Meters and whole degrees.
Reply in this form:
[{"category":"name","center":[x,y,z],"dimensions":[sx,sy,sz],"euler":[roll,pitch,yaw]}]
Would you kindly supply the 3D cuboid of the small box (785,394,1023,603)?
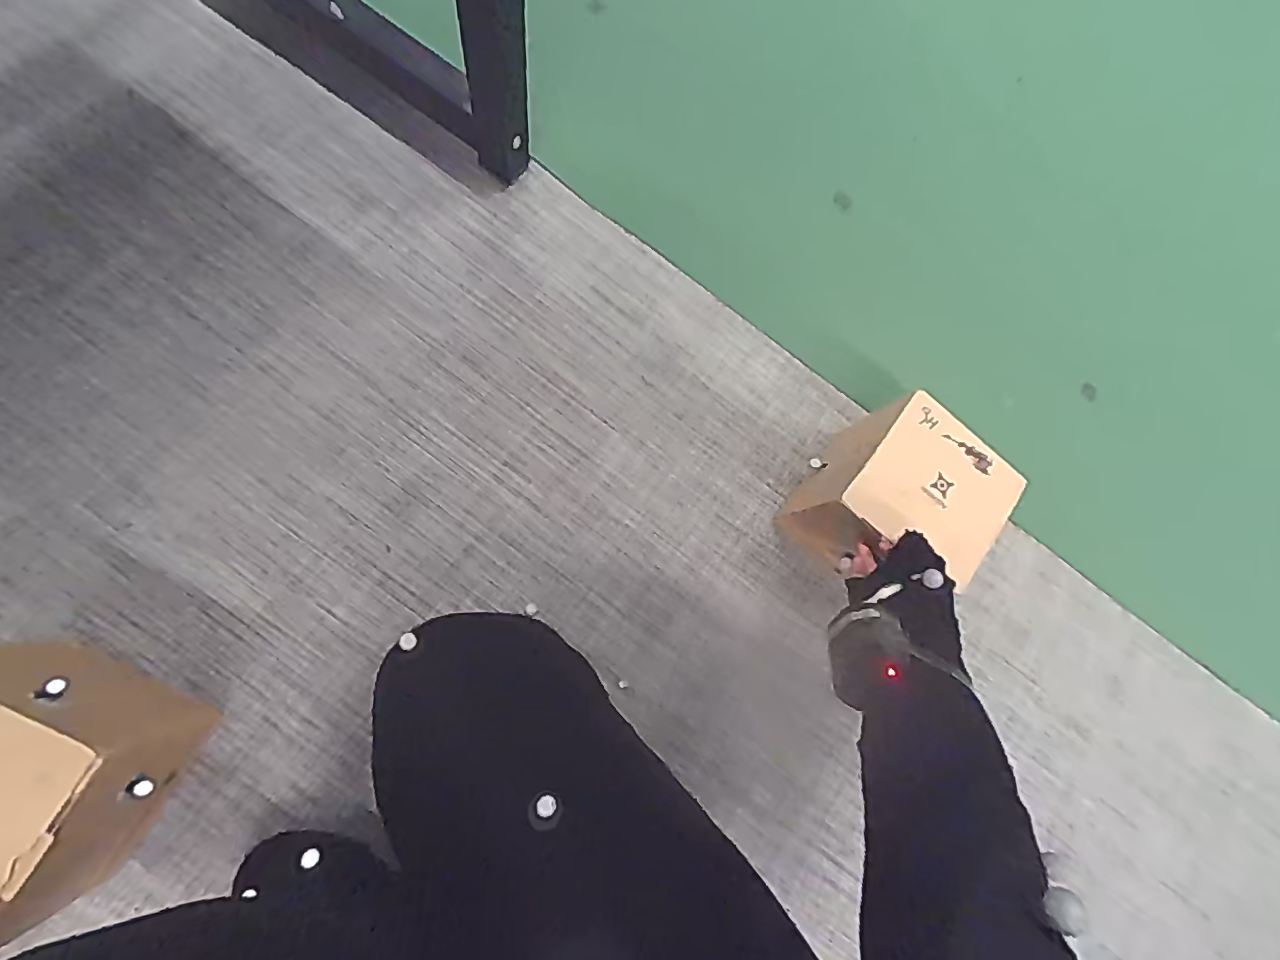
[{"category":"small box","center":[0.305,0.032,0.667],"dimensions":[0.168,0.176,0.179],"euler":[42,75,0]}]
